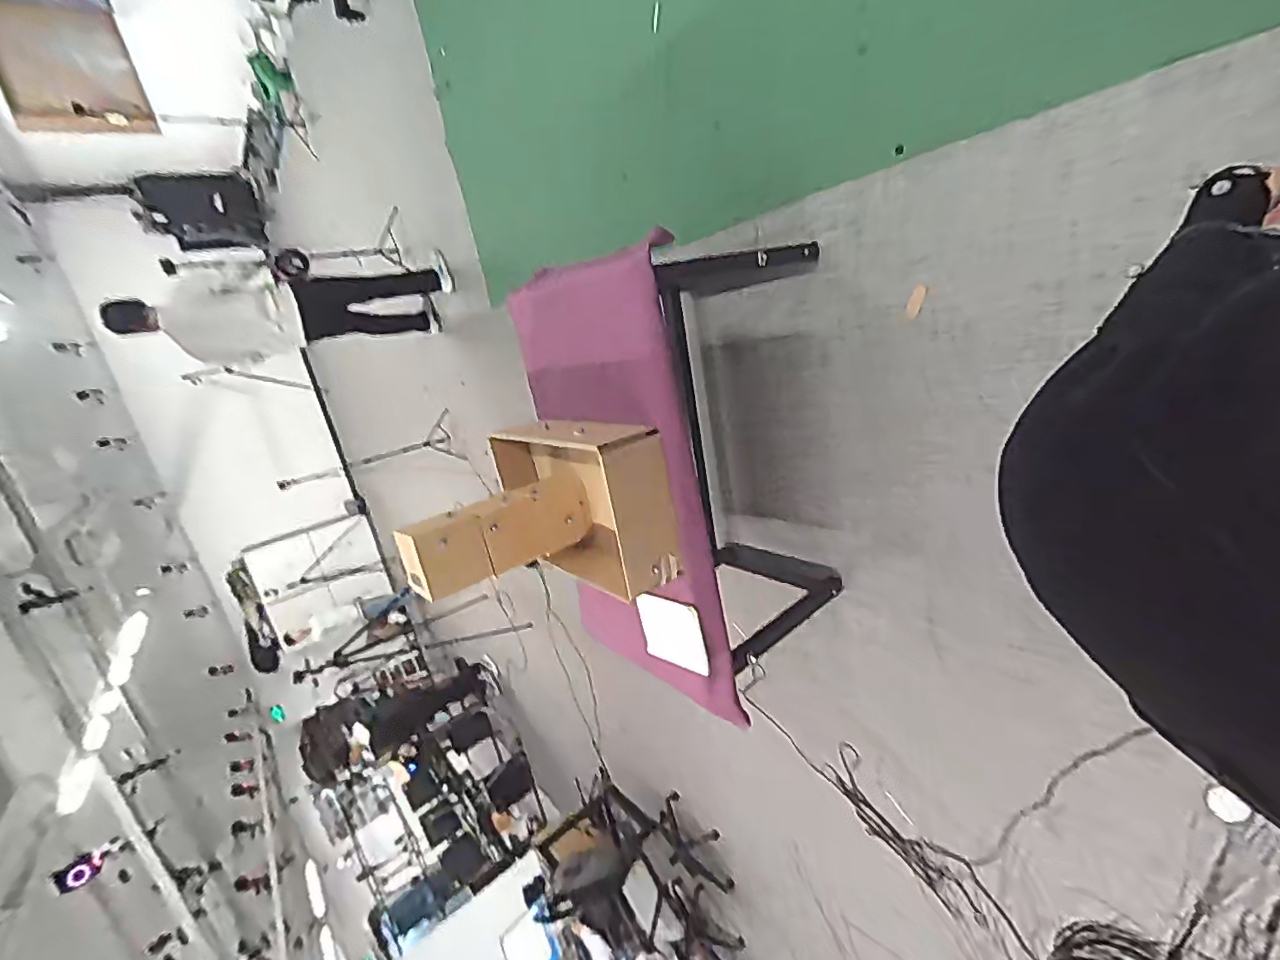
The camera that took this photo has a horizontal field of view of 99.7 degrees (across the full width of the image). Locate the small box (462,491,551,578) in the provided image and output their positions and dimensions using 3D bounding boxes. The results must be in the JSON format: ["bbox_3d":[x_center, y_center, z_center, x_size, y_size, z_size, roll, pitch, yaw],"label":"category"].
[{"bbox_3d":[-0.368,0.146,1.509,0.168,0.176,0.179,6,113,50],"label":"small box"}]

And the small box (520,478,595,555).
[{"bbox_3d":[-0.248,0.100,1.607,0.179,0.176,0.168,10,116,49],"label":"small box"}]
